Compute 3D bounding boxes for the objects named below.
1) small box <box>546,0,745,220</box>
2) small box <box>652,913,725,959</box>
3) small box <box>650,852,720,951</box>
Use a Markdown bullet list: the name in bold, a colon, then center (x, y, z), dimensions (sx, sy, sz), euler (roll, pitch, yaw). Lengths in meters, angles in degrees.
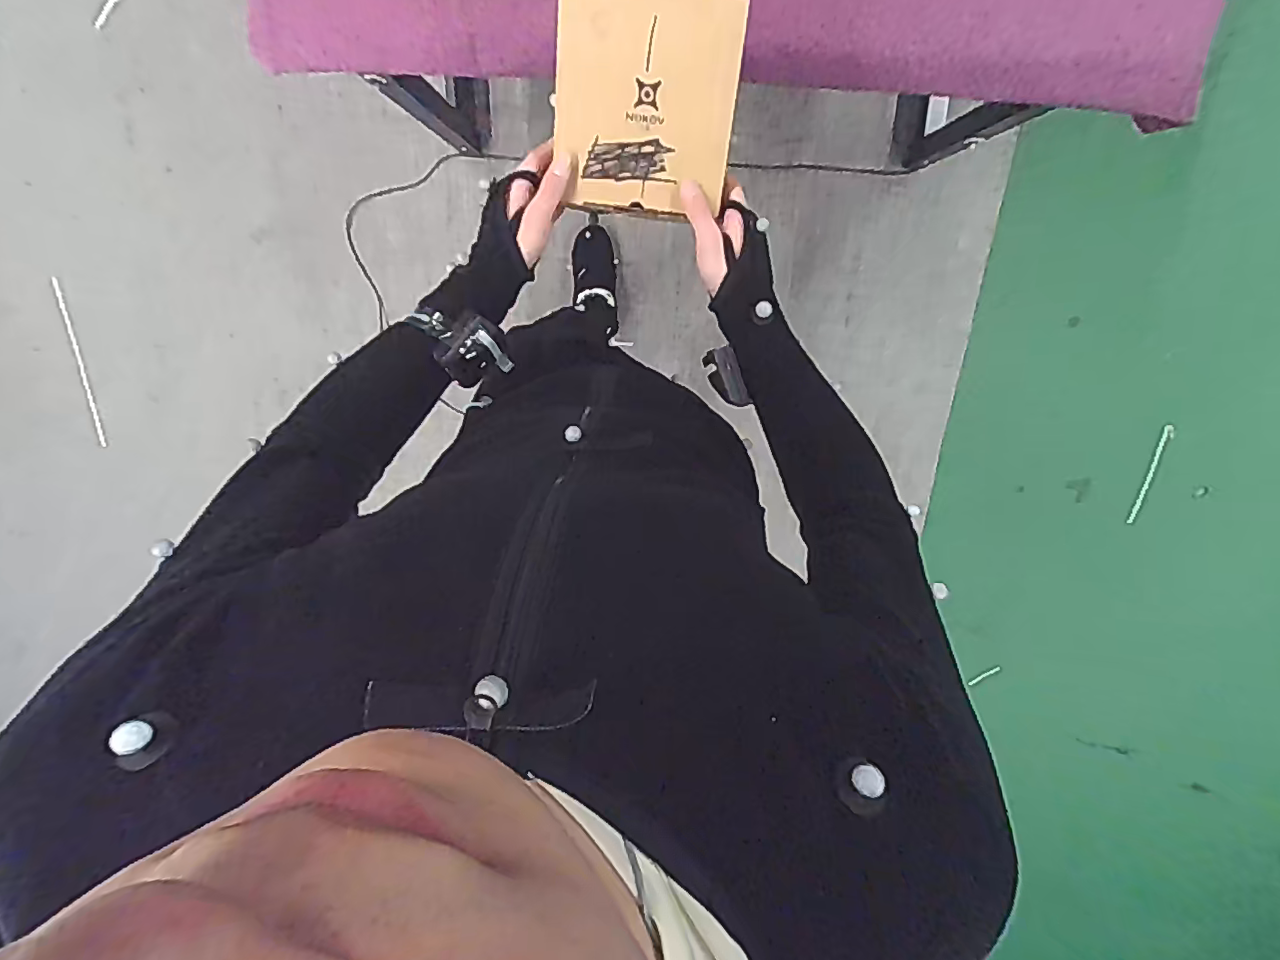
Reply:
- **small box**: center (0.000, -0.377, 0.563), dimensions (0.168, 0.176, 0.179), euler (5, 113, -3)
- **small box**: center (0.120, 1.243, 1.374), dimensions (0.179, 0.176, 0.168), euler (2, 108, 0)
- **small box**: center (0.122, 1.192, 1.530), dimensions (0.179, 0.176, 0.168), euler (4, 108, 1)
